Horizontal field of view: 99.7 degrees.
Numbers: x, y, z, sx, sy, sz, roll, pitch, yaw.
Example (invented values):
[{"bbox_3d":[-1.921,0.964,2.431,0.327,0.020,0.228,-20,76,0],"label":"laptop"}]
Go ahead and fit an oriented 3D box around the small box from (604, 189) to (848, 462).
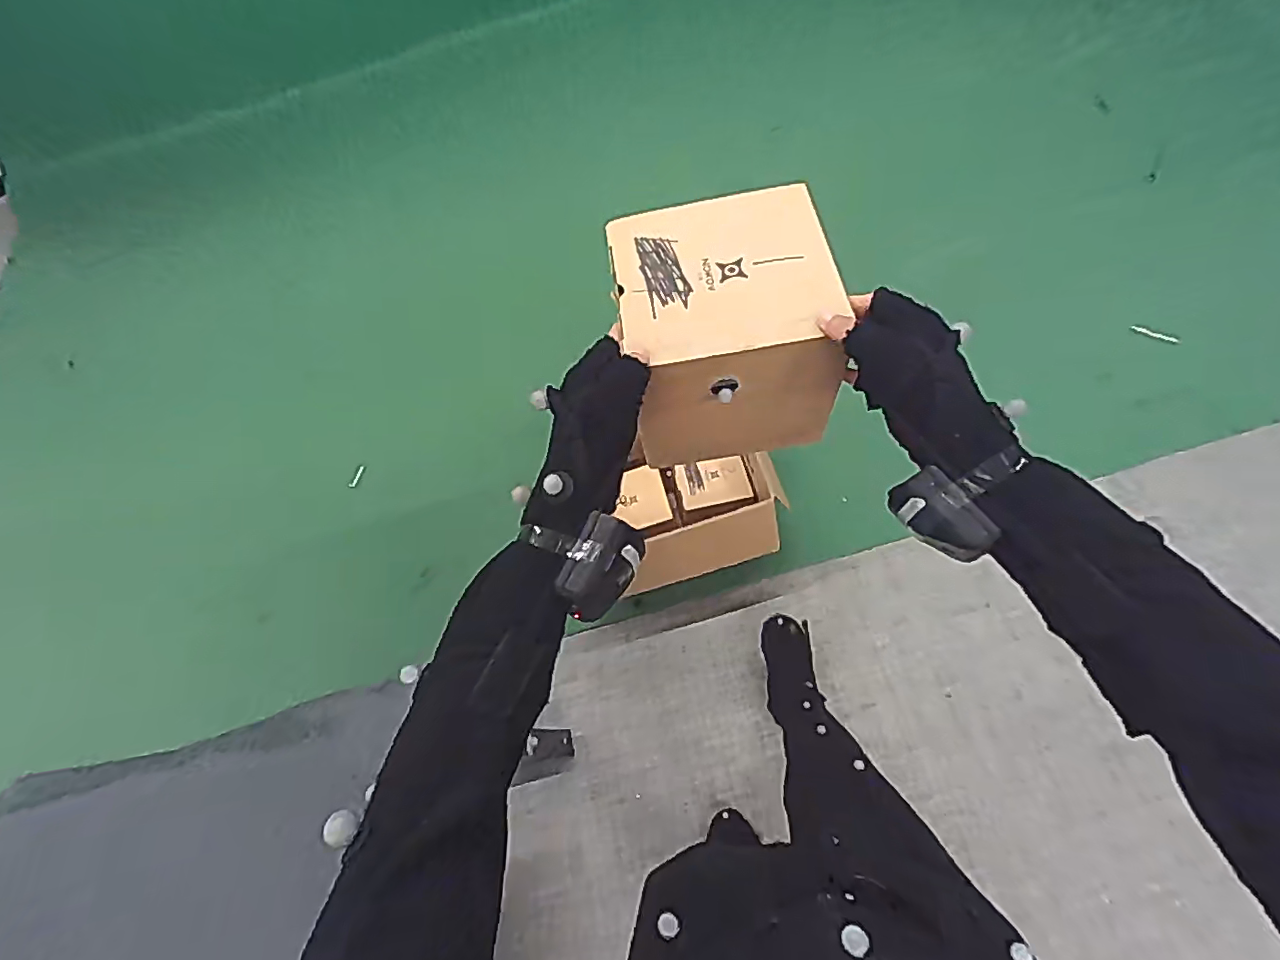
[{"bbox_3d":[0.072,-0.131,0.508,0.179,0.176,0.168,-9,64,4],"label":"small box"}]
